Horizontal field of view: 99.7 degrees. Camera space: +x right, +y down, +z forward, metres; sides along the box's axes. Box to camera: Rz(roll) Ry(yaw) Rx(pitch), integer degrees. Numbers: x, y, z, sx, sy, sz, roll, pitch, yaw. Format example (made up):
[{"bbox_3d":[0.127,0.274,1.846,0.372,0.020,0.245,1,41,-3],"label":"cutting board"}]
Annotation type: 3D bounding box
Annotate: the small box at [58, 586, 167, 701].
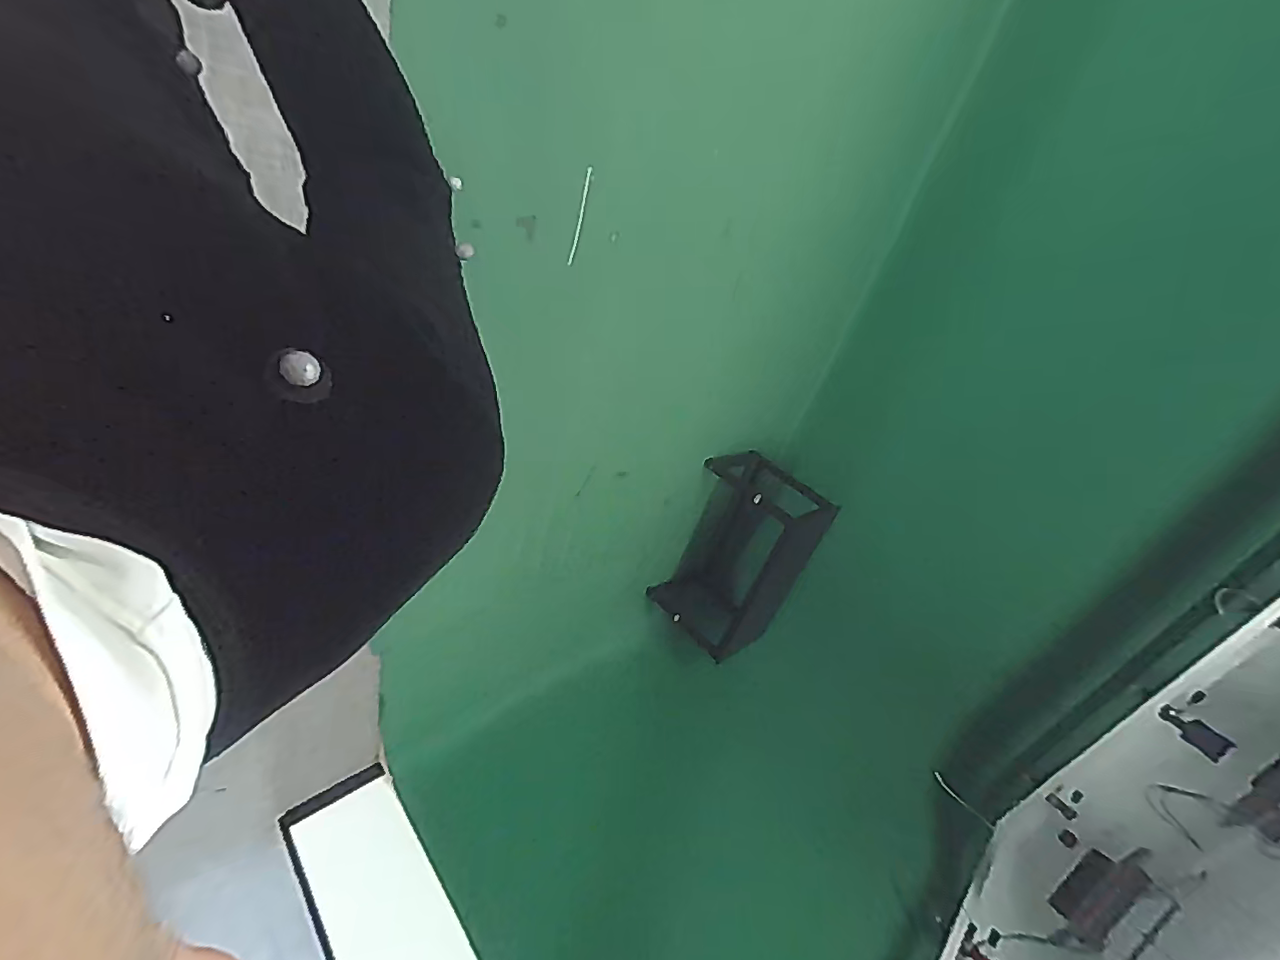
[{"bbox_3d":[-1.285,0.393,1.321,0.168,0.176,0.179,-13,133,-44],"label":"small box"}]
